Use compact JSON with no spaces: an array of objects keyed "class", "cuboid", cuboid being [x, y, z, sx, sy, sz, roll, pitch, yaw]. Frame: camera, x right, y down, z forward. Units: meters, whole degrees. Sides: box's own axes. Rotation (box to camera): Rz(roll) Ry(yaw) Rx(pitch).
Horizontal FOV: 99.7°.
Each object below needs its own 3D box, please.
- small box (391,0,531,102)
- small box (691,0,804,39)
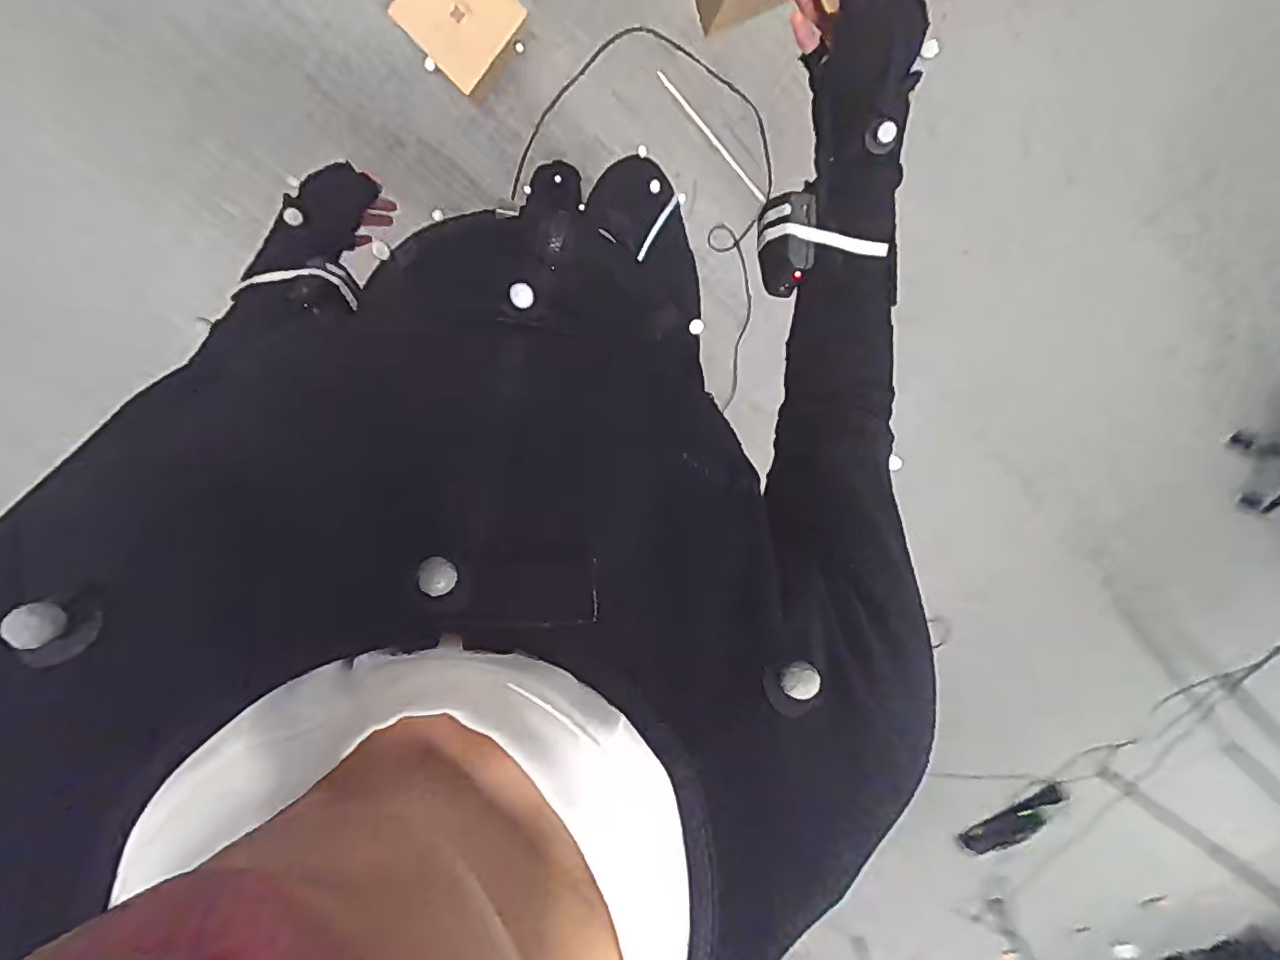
[{"class":"small box","cuboid":[-0.319,-0.840,0.994,0.179,0.176,0.168,-42,118,15]},{"class":"small box","cuboid":[0.104,-0.467,0.390,0.168,0.176,0.179,-17,119,11]}]
